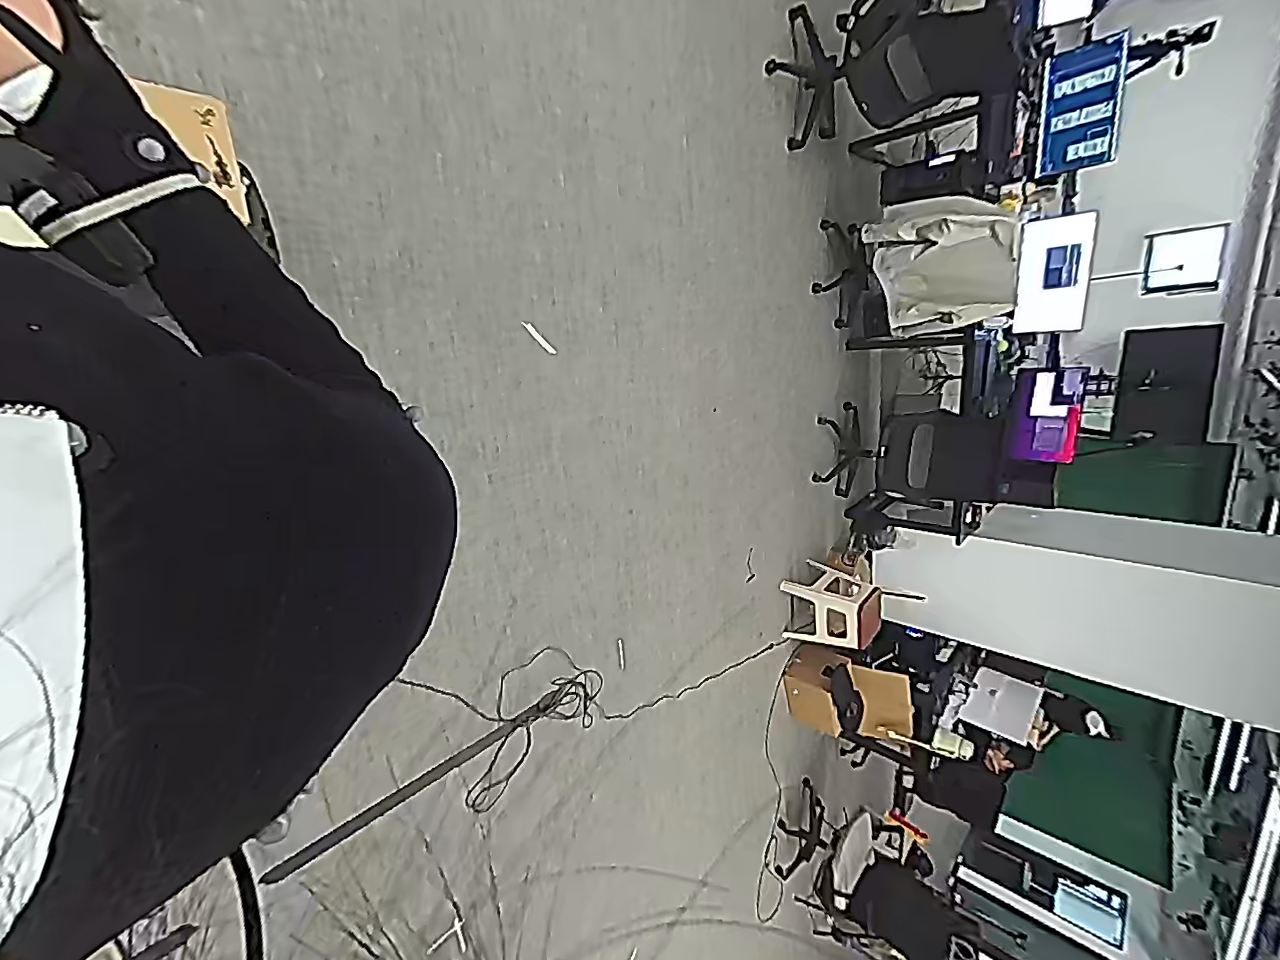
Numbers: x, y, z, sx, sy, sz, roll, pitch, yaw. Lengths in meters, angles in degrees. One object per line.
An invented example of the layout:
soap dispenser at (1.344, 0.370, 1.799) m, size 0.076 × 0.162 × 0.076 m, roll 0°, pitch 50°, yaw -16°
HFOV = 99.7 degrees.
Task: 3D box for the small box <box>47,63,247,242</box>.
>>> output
small box at (-0.705, -0.452, 0.782) m, size 0.179 × 0.176 × 0.168 m, roll -17°, pitch 108°, yaw -44°

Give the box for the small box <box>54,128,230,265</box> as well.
small box at (-0.823, -0.452, 0.897) m, size 0.179 × 0.176 × 0.168 m, roll -20°, pitch 110°, yaw -42°

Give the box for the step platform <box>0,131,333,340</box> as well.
step platform at (-0.870, -0.368, 0.806) m, size 0.684 × 0.204 × 0.286 m, roll -23°, pitch 112°, yaw -43°
